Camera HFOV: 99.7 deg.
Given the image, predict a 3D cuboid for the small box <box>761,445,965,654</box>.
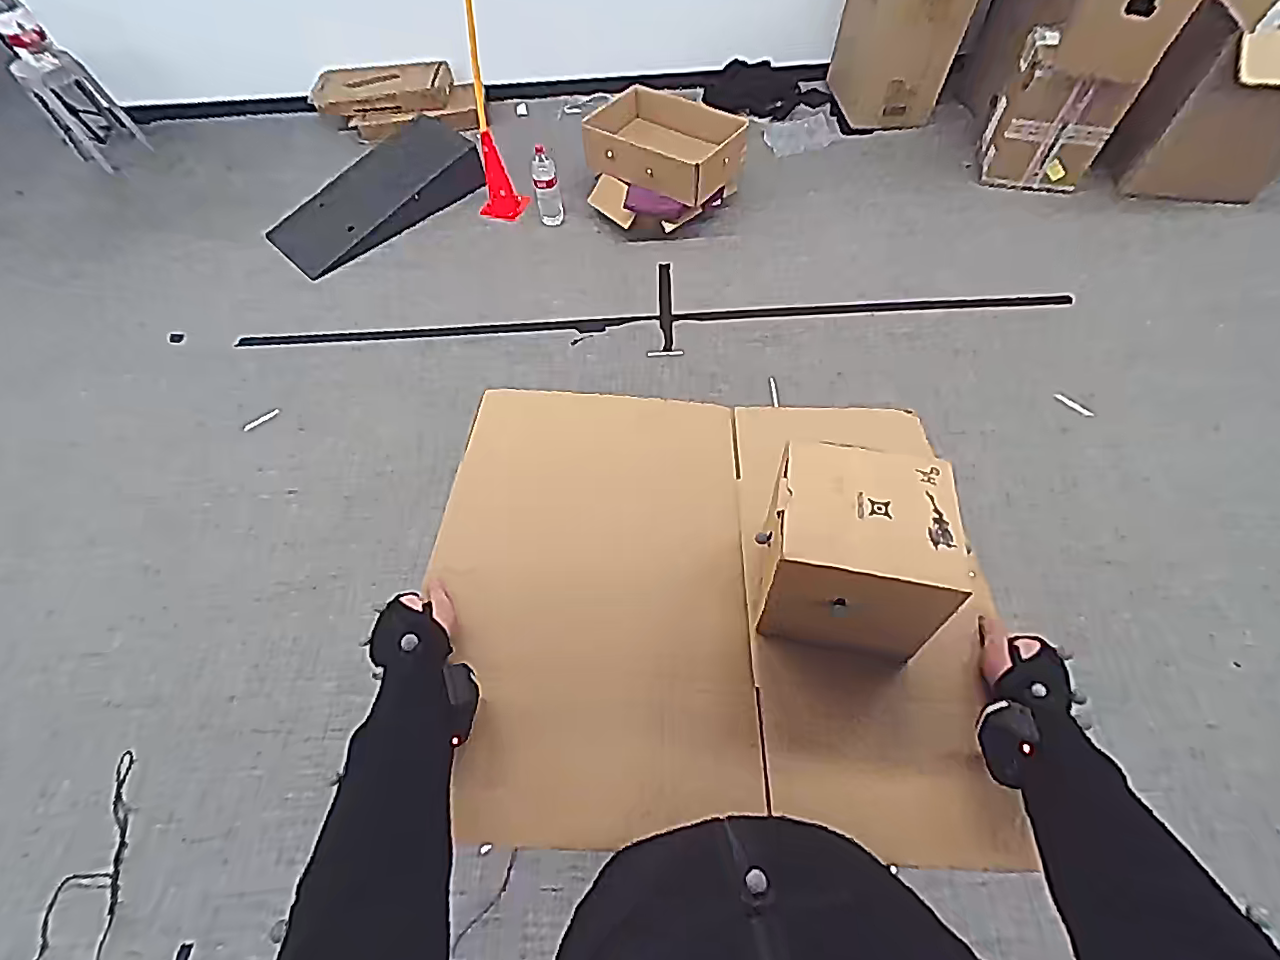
[{"bbox_3d":[0.239,0.083,0.624,0.179,0.176,0.168,8,52,10],"label":"small box"}]
